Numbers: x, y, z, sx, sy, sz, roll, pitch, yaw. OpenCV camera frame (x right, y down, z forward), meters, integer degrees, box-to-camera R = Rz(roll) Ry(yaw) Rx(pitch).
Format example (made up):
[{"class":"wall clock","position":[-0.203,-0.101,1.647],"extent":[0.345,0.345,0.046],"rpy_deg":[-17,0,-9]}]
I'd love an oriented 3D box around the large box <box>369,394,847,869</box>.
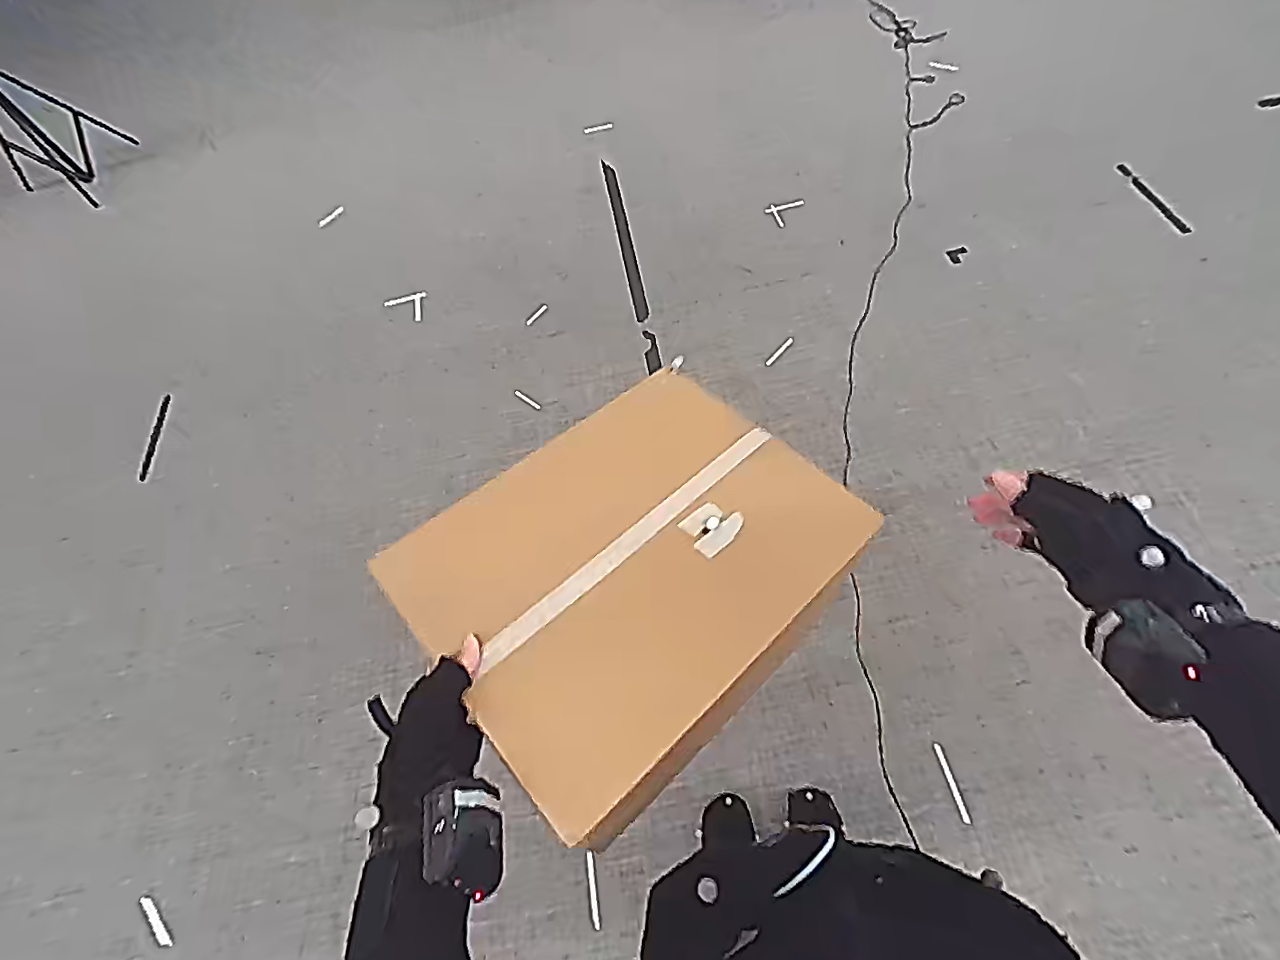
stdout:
[{"class":"large box","position":[-0.024,0.175,0.666],"extent":[0.408,0.320,0.320],"rpy_deg":[-38,62,-25]}]
